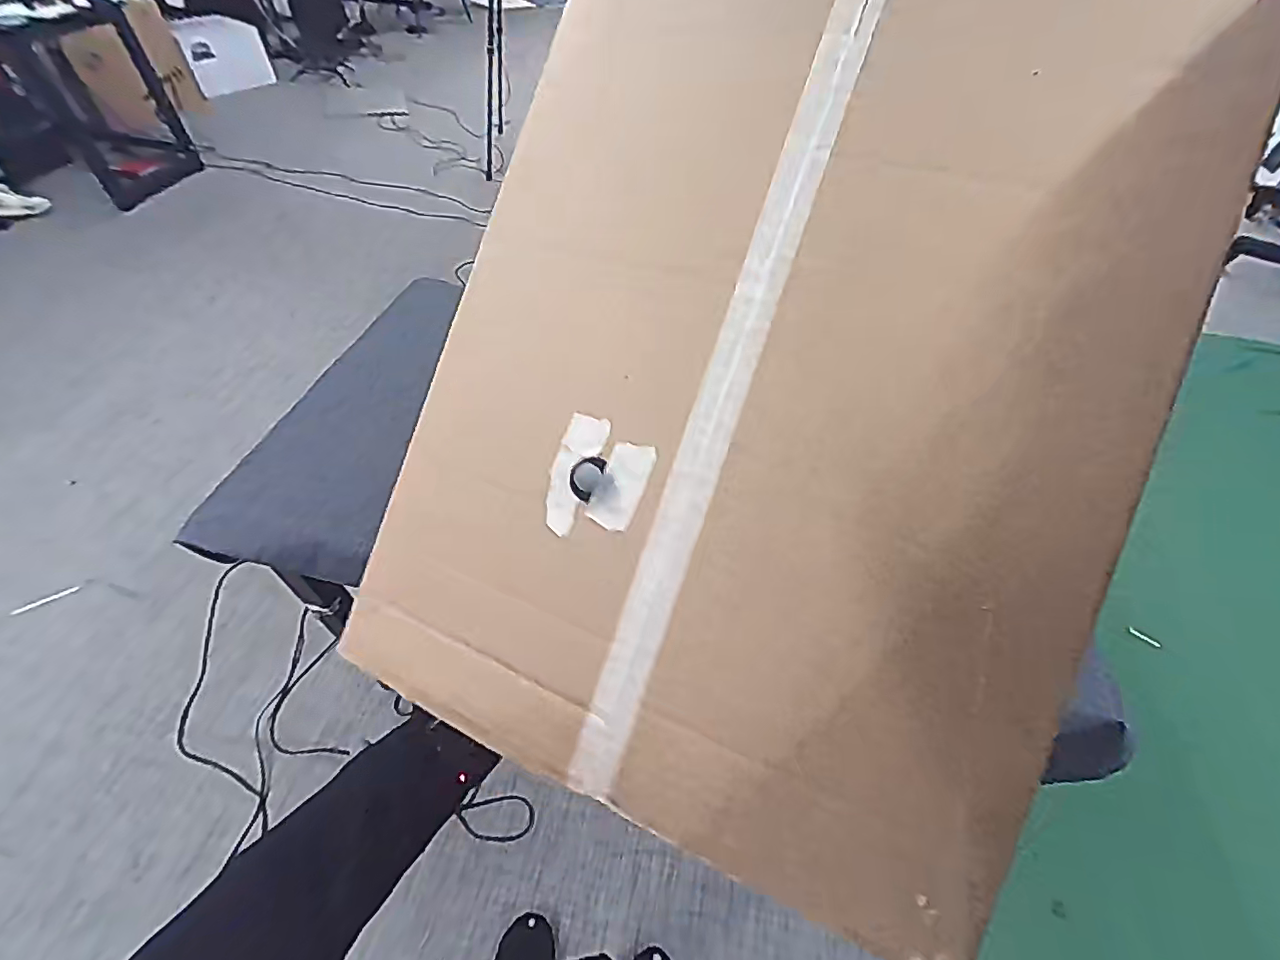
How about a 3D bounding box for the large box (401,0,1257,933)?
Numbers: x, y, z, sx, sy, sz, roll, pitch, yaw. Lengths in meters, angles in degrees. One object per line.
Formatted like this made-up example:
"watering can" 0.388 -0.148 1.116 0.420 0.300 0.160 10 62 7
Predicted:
"large box" 0.098 -0.032 0.407 0.320 0.320 0.408 18 91 17
